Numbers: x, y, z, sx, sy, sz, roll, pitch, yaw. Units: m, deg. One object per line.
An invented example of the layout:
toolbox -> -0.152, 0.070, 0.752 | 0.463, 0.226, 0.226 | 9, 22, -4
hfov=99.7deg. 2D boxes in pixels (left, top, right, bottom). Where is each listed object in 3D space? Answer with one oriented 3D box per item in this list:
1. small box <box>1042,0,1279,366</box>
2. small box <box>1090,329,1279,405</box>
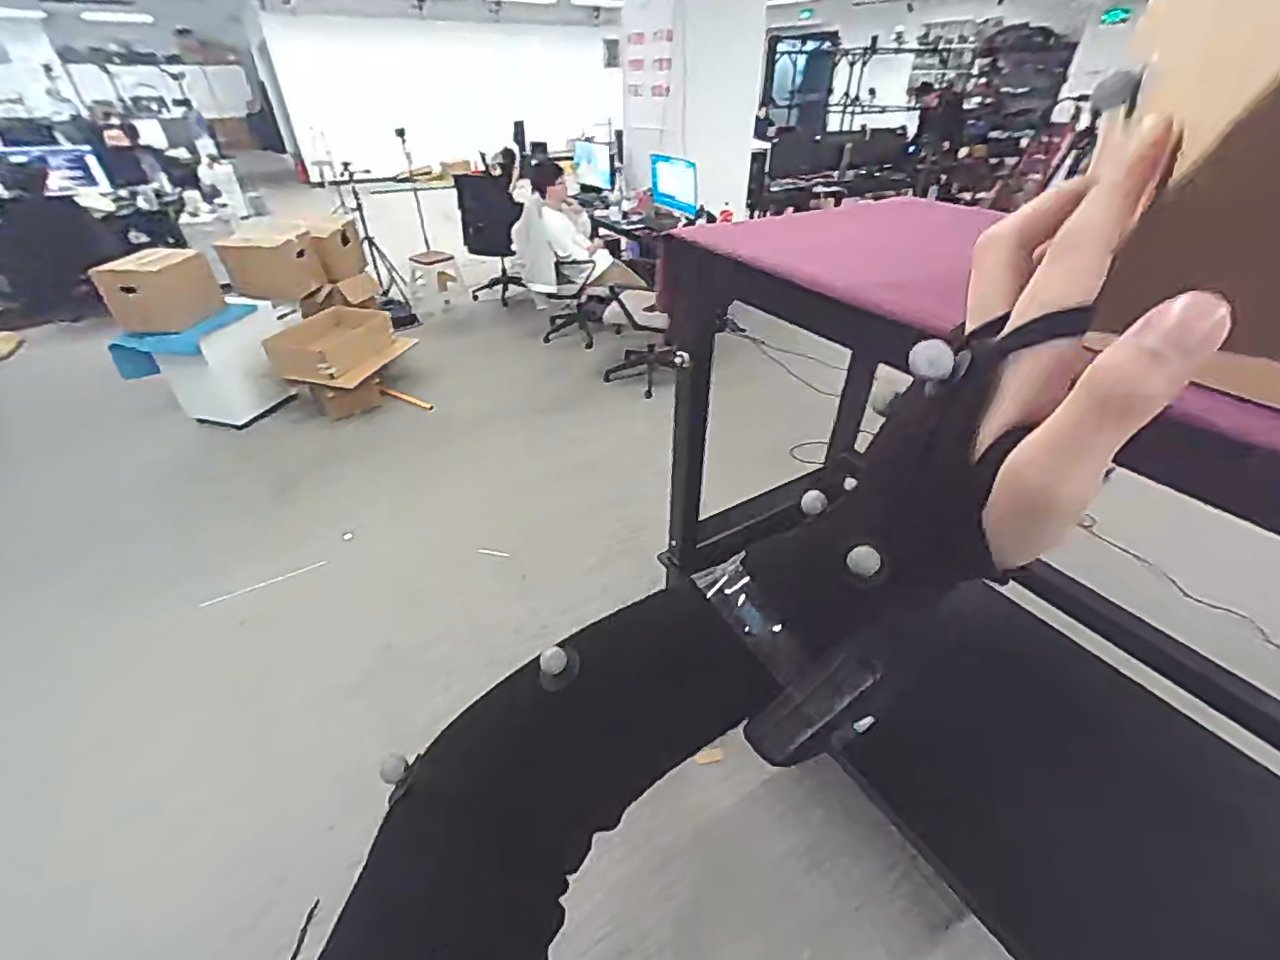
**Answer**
small box -> 0.268, -0.136, 0.159 | 0.179, 0.168, 0.176 | 19, 0, 21
small box -> 0.519, -0.170, 0.426 | 0.168, 0.176, 0.179 | -16, 40, -23
